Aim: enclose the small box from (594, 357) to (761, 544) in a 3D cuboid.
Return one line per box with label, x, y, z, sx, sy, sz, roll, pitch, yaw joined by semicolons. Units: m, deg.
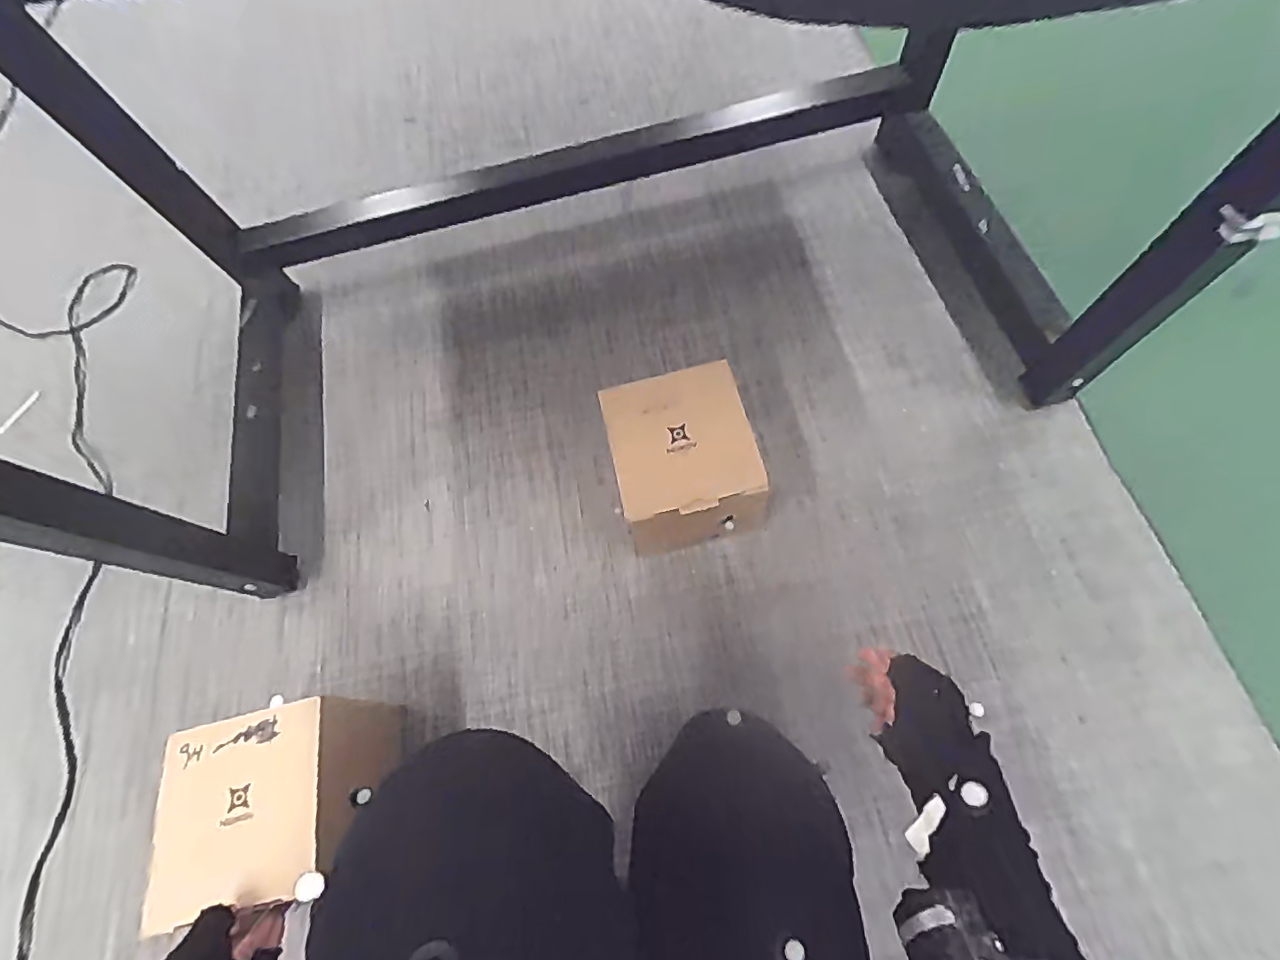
small box;0.049;-0.026;0.705;0.168;0.176;0.179;-14;67;0
